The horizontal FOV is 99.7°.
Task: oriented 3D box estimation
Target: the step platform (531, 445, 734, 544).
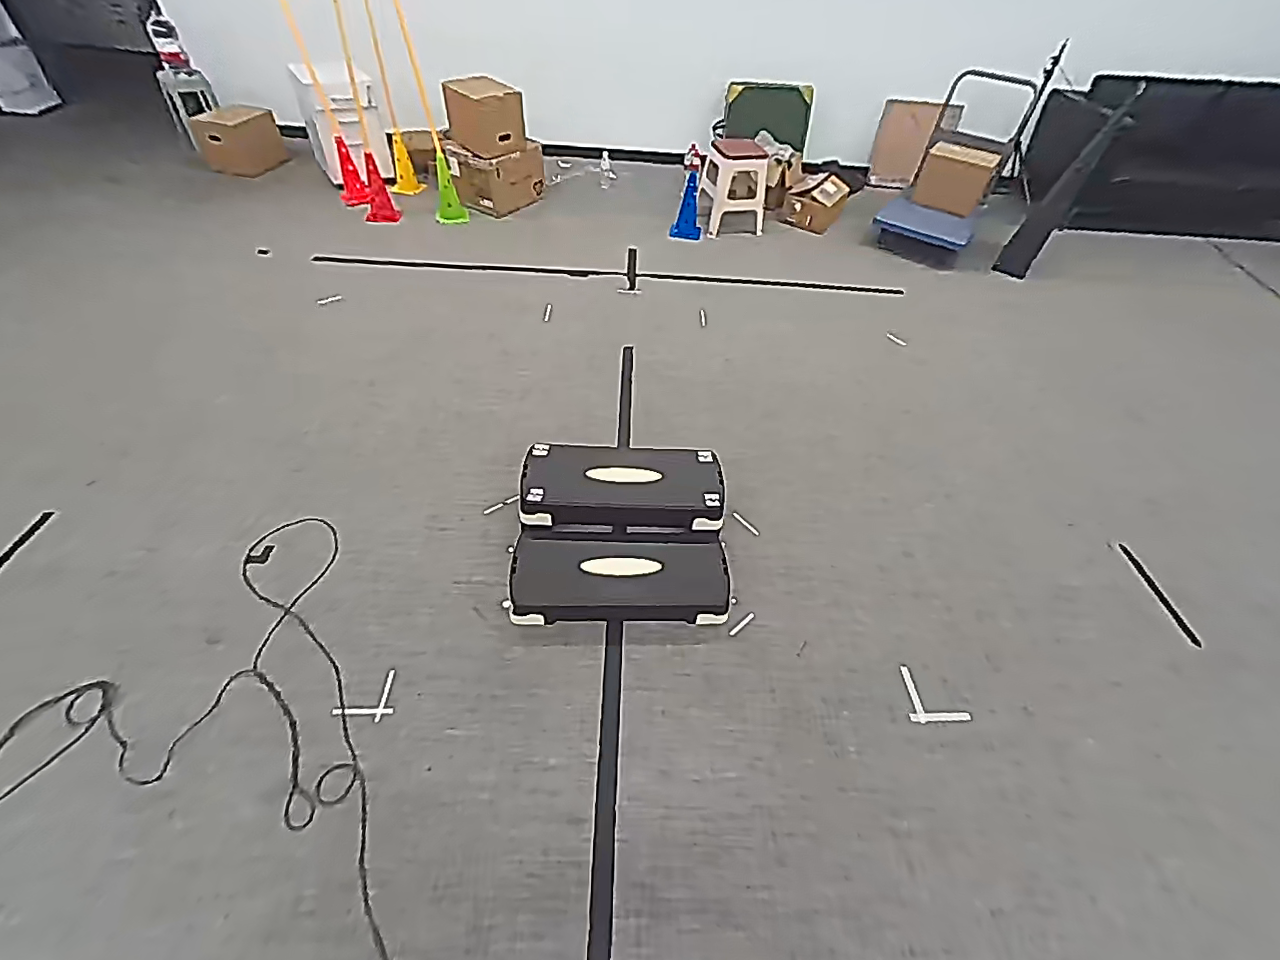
[{"bbox_3d":[-0.025,0.045,1.855,0.684,0.204,0.286,2,47,-5],"label":"step platform"}]
